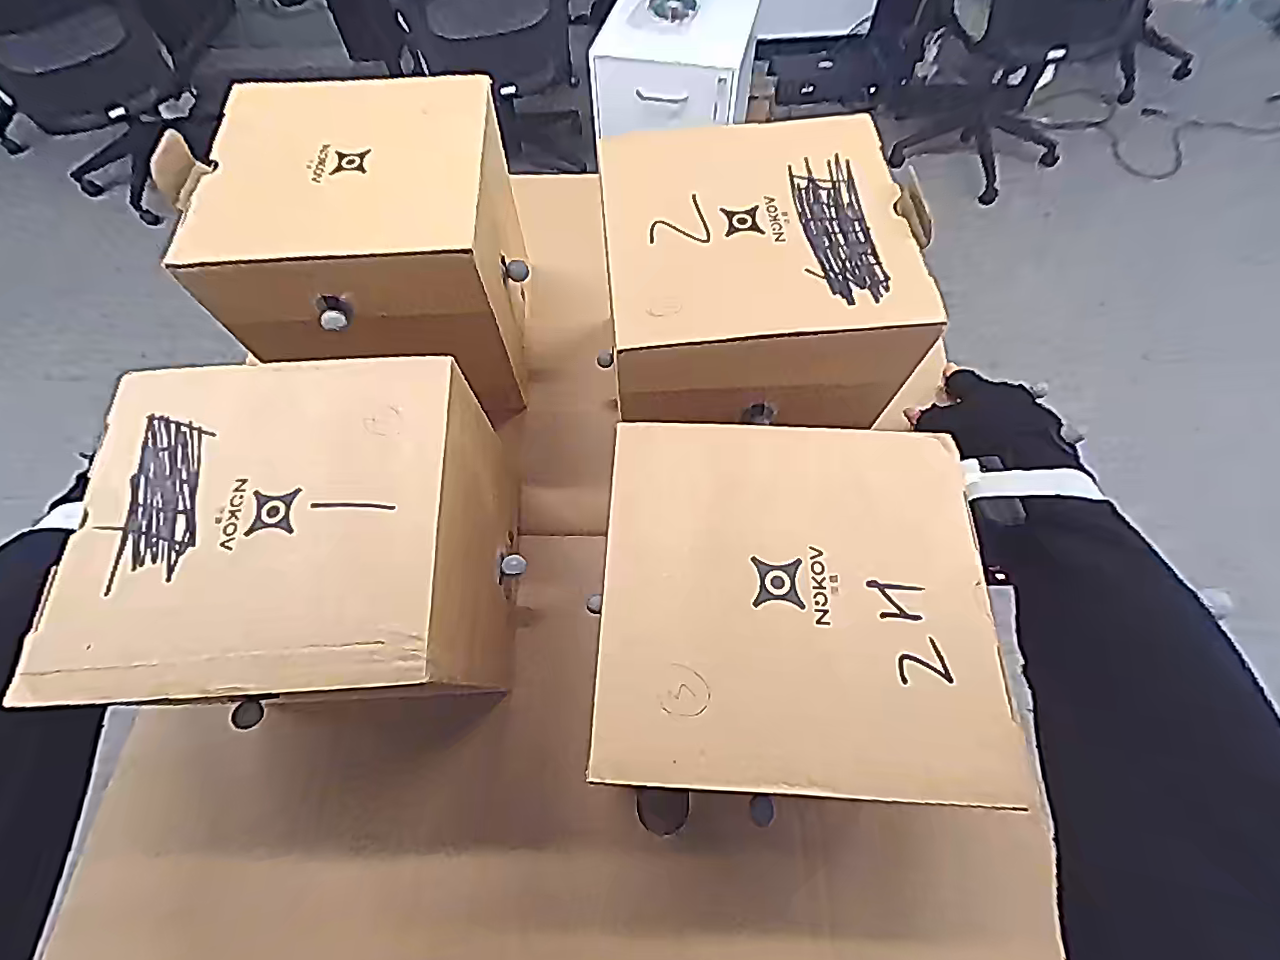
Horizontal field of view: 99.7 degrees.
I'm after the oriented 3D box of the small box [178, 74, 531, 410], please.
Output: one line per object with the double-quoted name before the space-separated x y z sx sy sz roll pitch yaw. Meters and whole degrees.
"small box" -0.185 -0.169 0.417 0.179 0.176 0.168 -5 66 0
